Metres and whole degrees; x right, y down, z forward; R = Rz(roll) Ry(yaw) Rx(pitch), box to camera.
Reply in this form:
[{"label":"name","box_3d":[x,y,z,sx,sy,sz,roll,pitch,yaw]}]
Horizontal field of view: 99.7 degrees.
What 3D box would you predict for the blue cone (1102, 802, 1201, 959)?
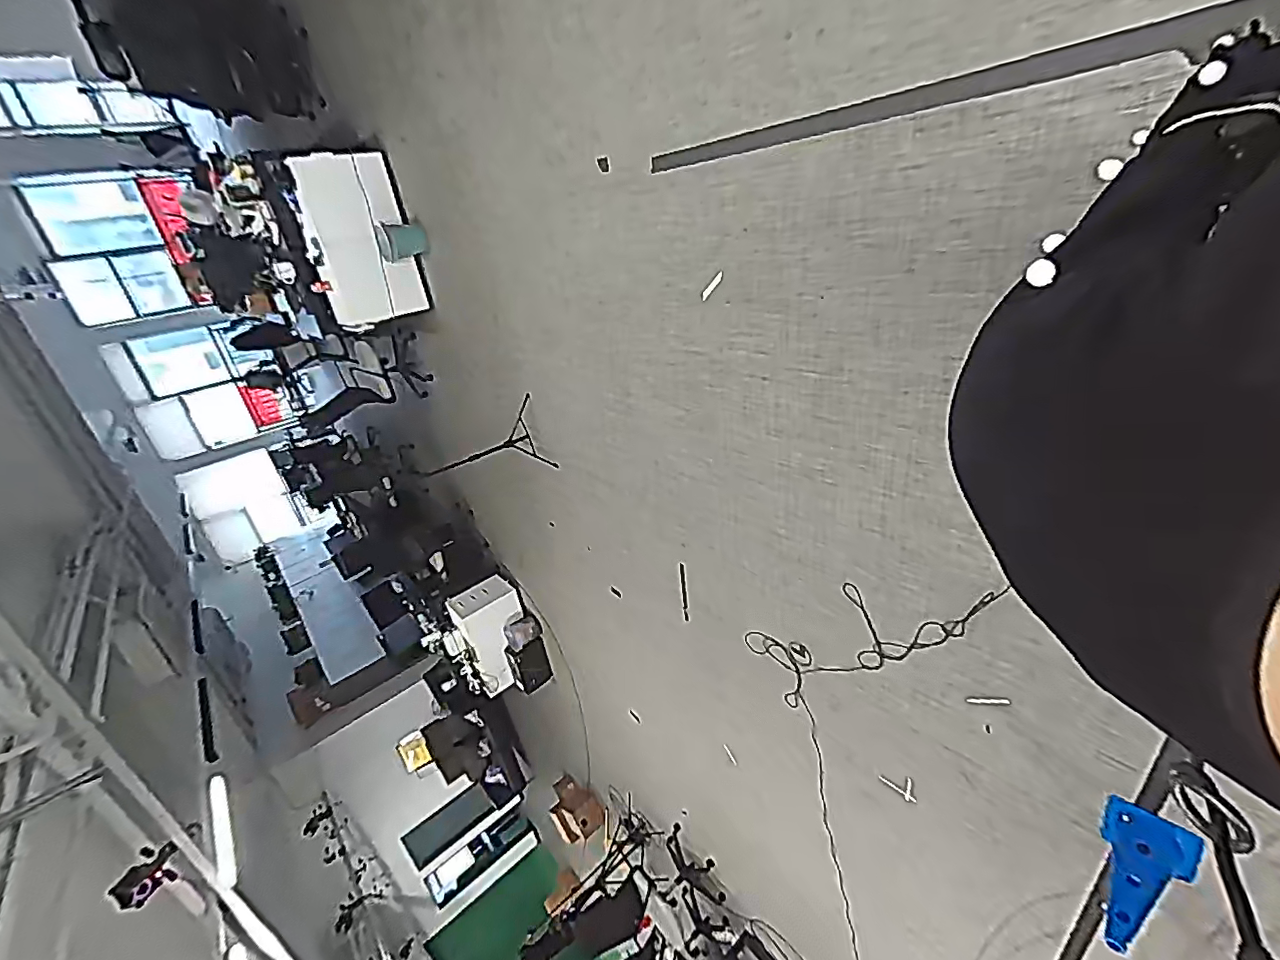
[{"label":"blue cone","box_3d":[1.306,1.073,1.426,0.192,0.380,0.193,17,127,47]}]
